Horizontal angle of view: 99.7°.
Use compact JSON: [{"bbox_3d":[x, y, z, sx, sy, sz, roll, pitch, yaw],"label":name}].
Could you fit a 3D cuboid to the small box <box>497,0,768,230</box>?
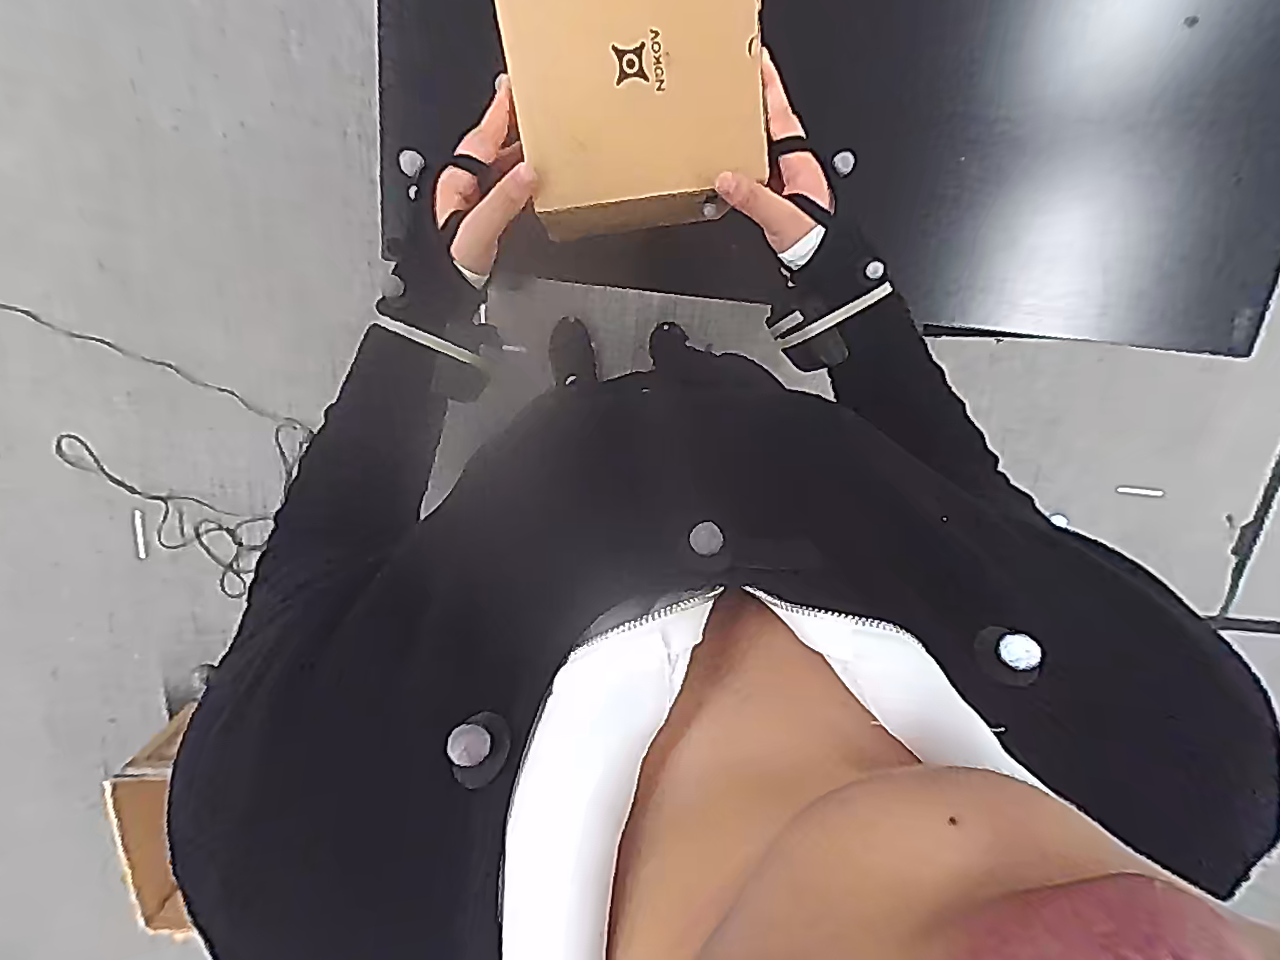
[{"bbox_3d":[-0.010,-0.313,0.444,0.179,0.176,0.168,-10,109,-4],"label":"small box"}]
